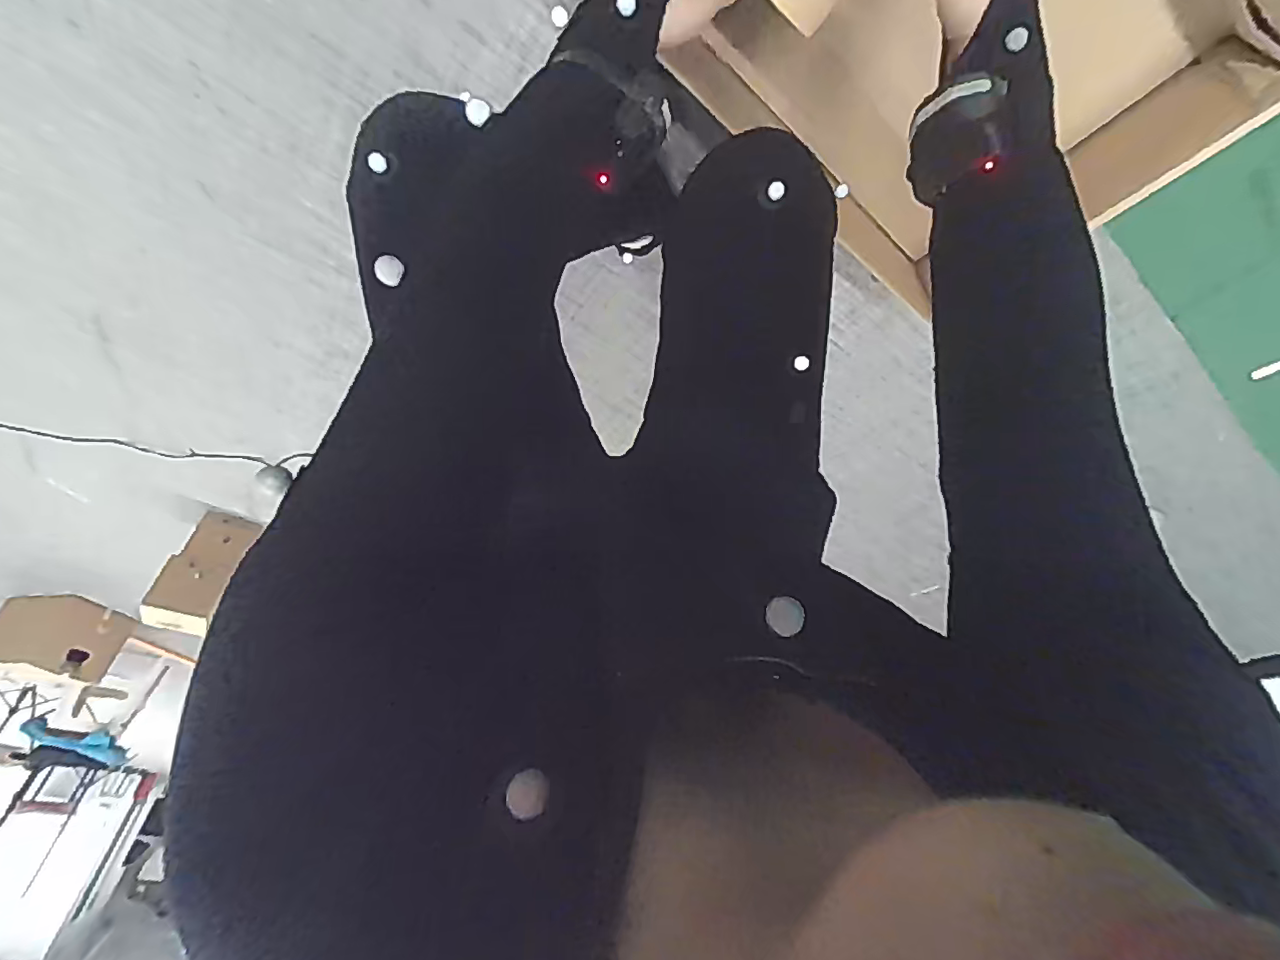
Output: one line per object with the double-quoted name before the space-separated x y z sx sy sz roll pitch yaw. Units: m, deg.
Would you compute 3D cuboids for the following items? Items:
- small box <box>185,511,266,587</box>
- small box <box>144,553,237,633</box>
"small box" -1.354 0.225 1.770 0.168 0.176 0.179 23 140 -24
"small box" -1.374 0.349 1.663 0.168 0.176 0.179 24 139 -25
